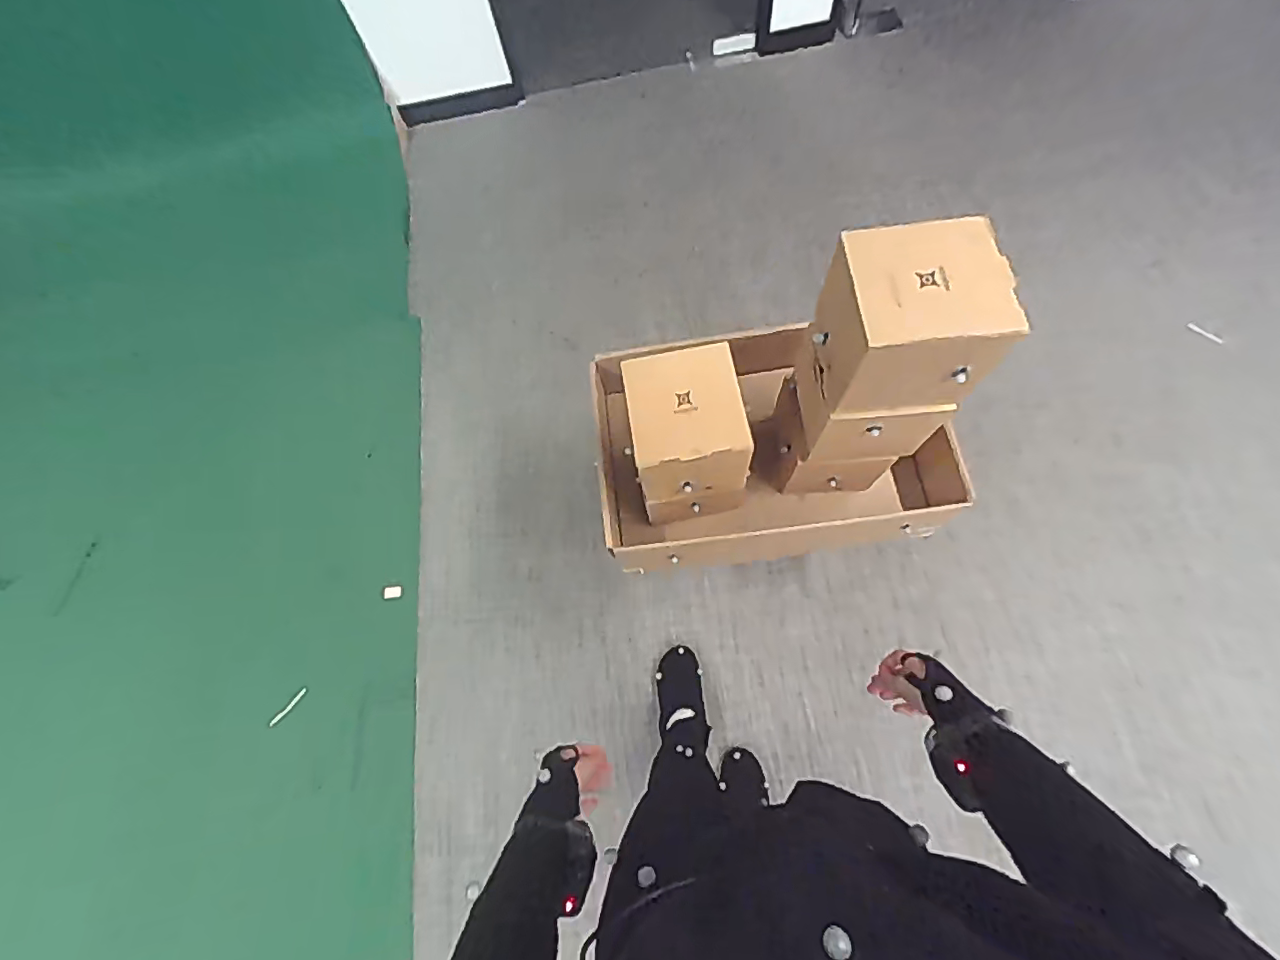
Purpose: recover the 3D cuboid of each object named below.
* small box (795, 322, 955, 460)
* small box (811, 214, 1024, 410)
[{"bbox_3d":[0.346,-0.138,0.841,0.179,0.176,0.168,-5,70,4],"label":"small box"},{"bbox_3d":[0.334,-0.204,0.692,0.179,0.176,0.168,-5,69,4],"label":"small box"}]
